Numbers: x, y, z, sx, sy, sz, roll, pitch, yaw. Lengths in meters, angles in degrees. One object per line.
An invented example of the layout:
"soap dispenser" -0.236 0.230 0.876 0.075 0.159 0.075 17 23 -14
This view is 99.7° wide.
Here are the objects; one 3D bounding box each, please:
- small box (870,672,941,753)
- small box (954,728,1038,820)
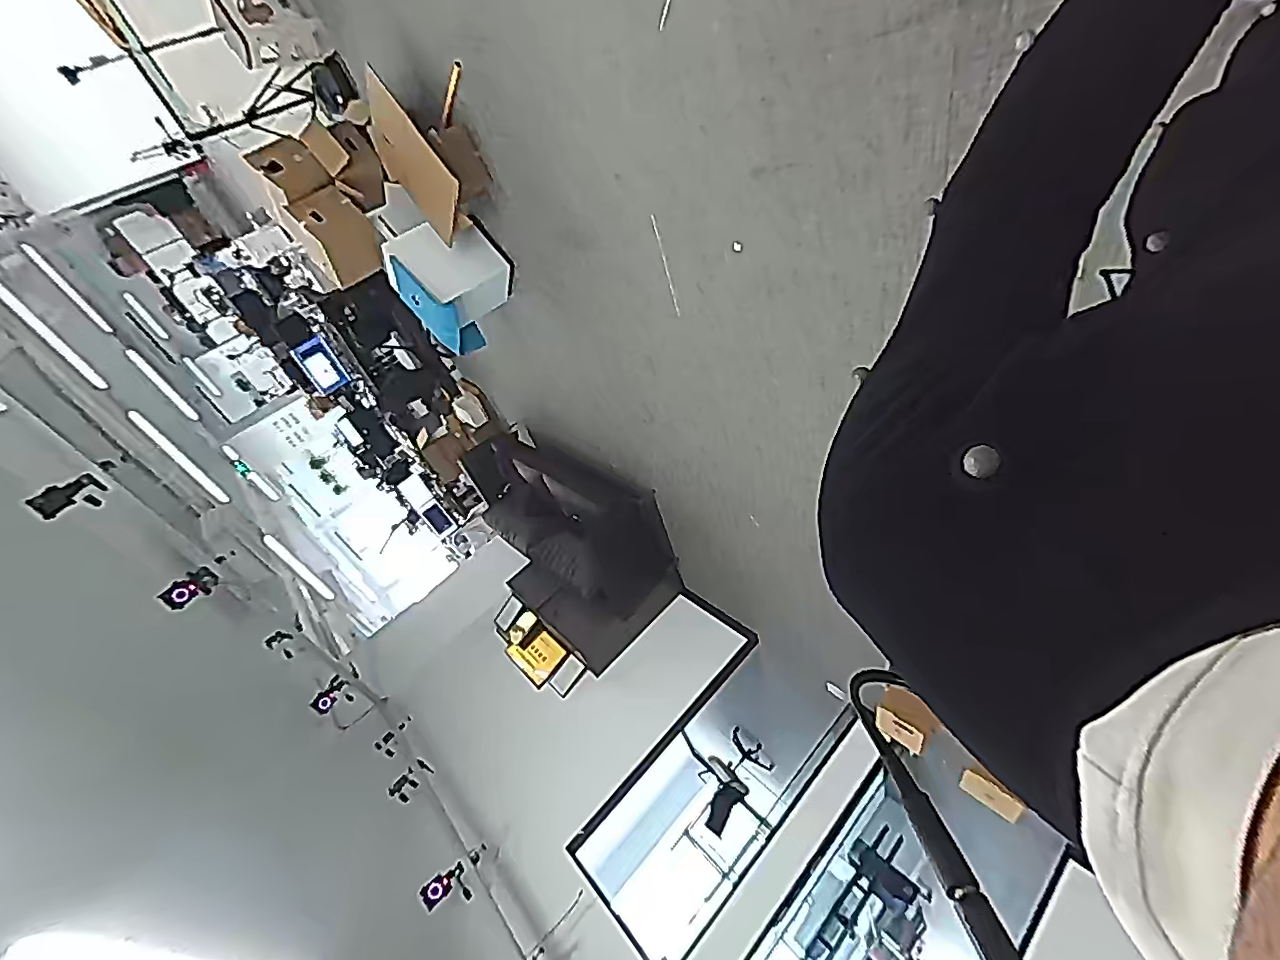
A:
"small box" 0.944 0.821 1.922 0.168 0.176 0.179 29 149 41
"small box" 1.144 0.941 1.739 0.168 0.176 0.179 28 149 40
